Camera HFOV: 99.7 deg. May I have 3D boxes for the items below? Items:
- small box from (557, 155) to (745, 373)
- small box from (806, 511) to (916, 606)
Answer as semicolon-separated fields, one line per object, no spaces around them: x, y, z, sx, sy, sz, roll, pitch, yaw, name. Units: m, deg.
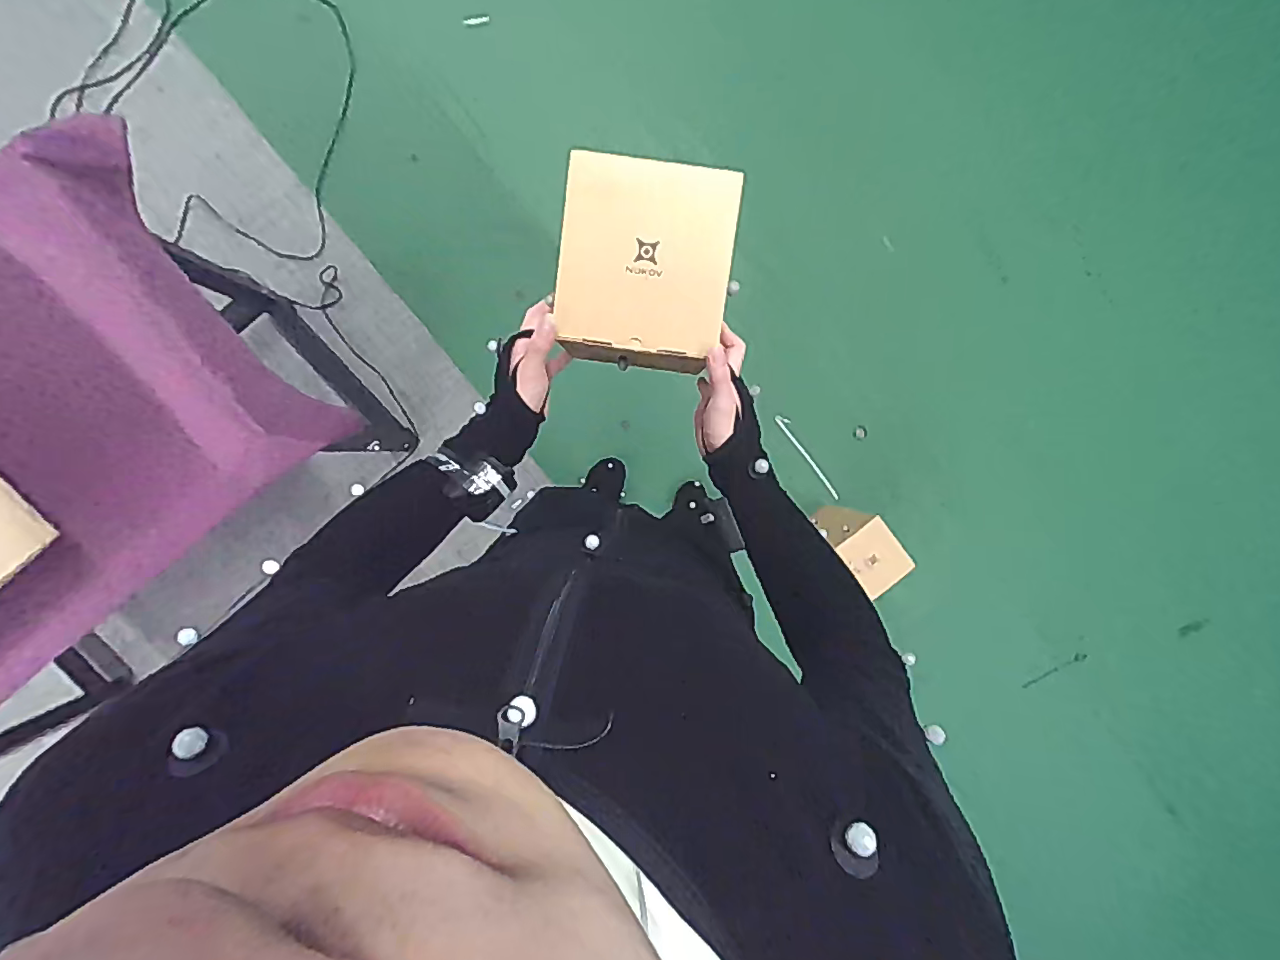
0.008;-0.219;0.595;0.168;0.176;0.179;6;98;-1;small box
0.573;0.198;1.427;0.179;0.176;0.168;-38;93;0;small box
